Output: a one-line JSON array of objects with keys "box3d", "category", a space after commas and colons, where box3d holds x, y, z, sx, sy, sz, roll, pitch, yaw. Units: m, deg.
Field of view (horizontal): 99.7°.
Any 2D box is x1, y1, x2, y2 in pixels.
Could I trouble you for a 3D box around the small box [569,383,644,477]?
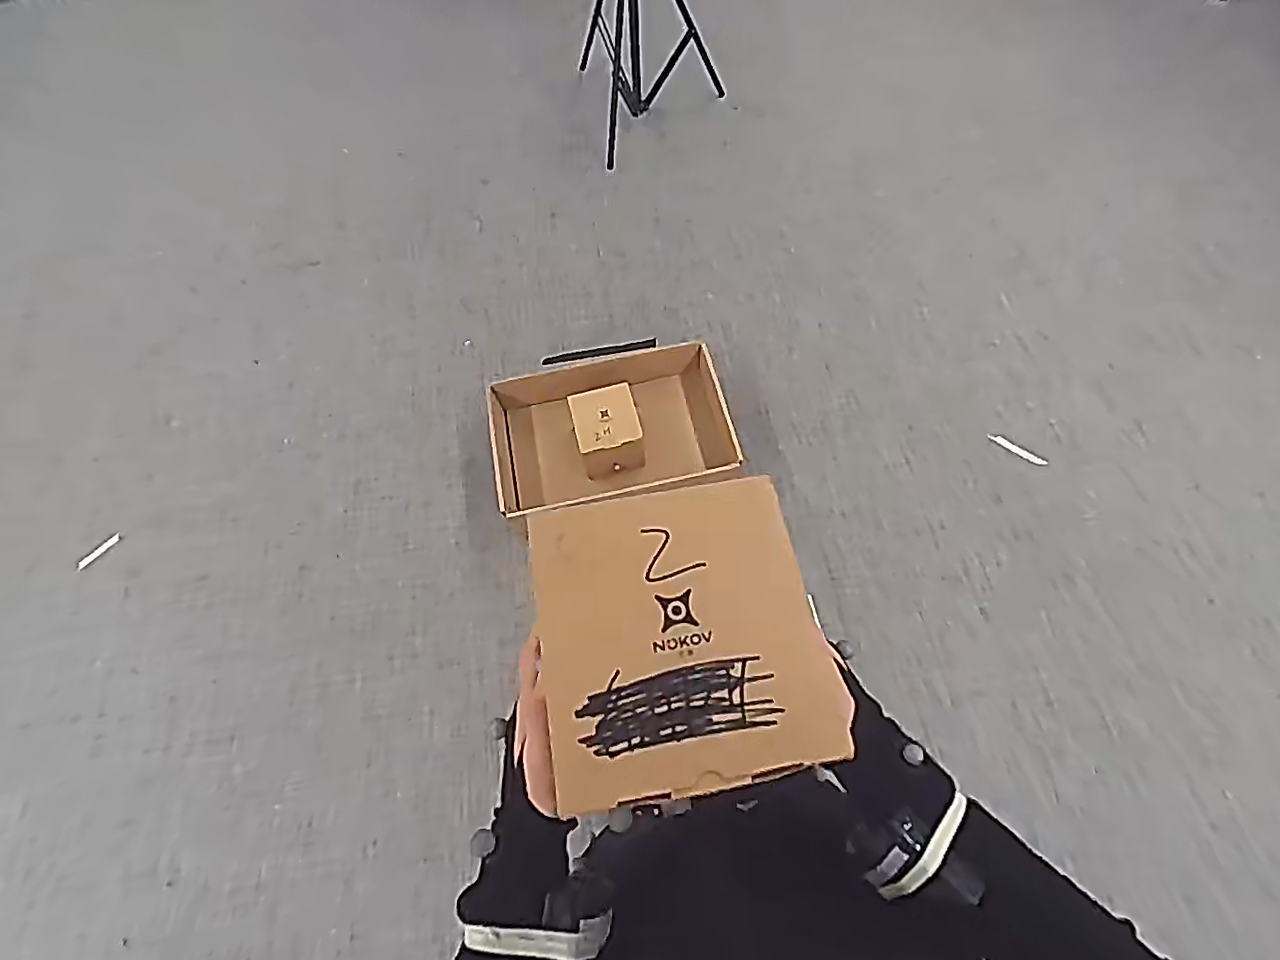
[{"box3d": [-0.088, -0.132, 1.461, 0.168, 0.176, 0.179, -14, 68, -3], "category": "small box"}]
